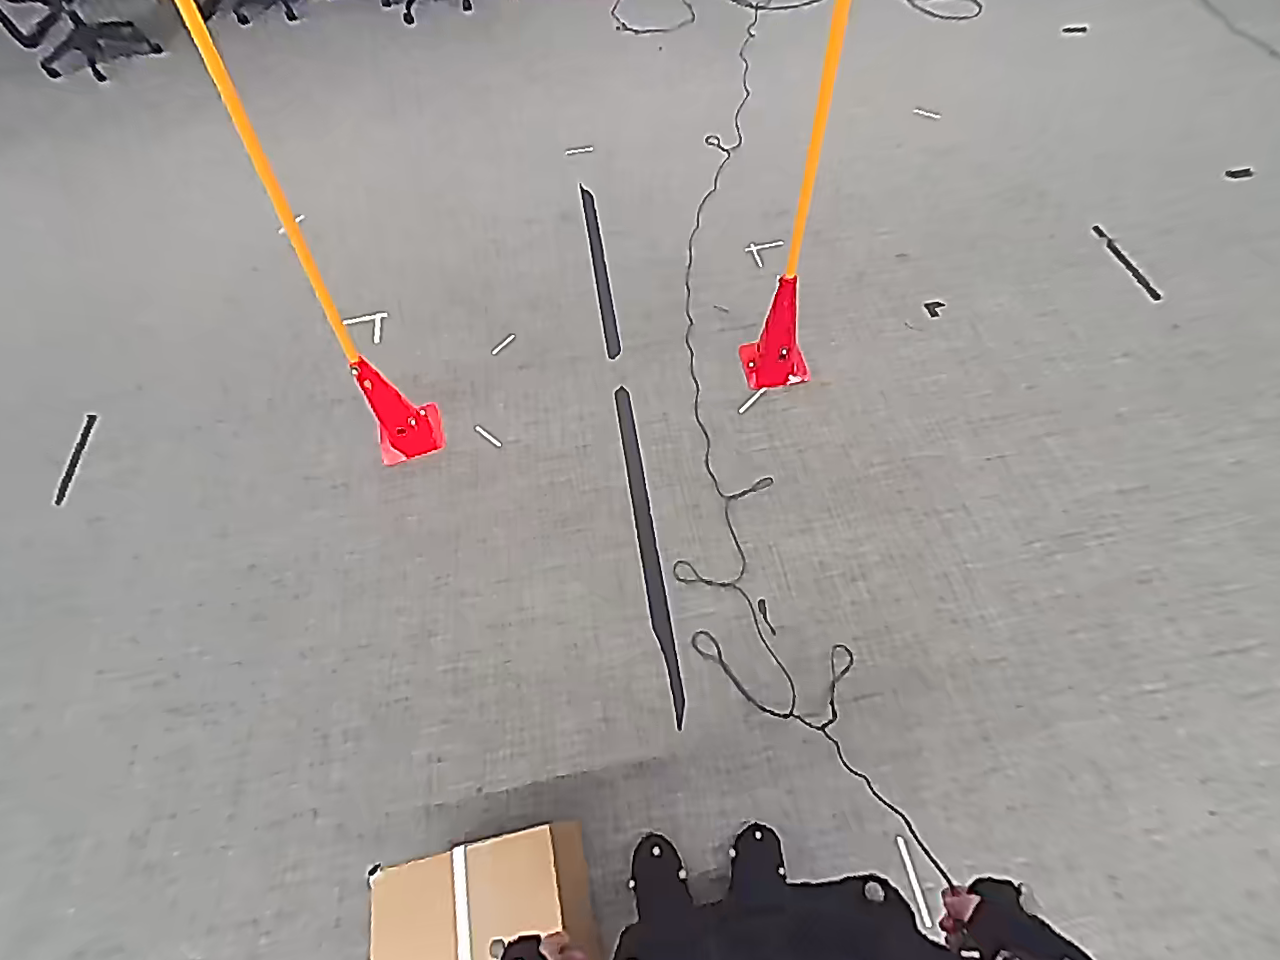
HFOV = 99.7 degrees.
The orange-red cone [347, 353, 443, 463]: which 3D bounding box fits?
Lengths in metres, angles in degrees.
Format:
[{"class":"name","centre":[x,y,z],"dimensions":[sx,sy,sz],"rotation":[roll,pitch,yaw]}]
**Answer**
[{"class":"orange-red cone","centre":[-0.756,-0.239,1.600],"dimensions":[0.199,0.360,0.198],"rotation":[-18,60,-4]}]
